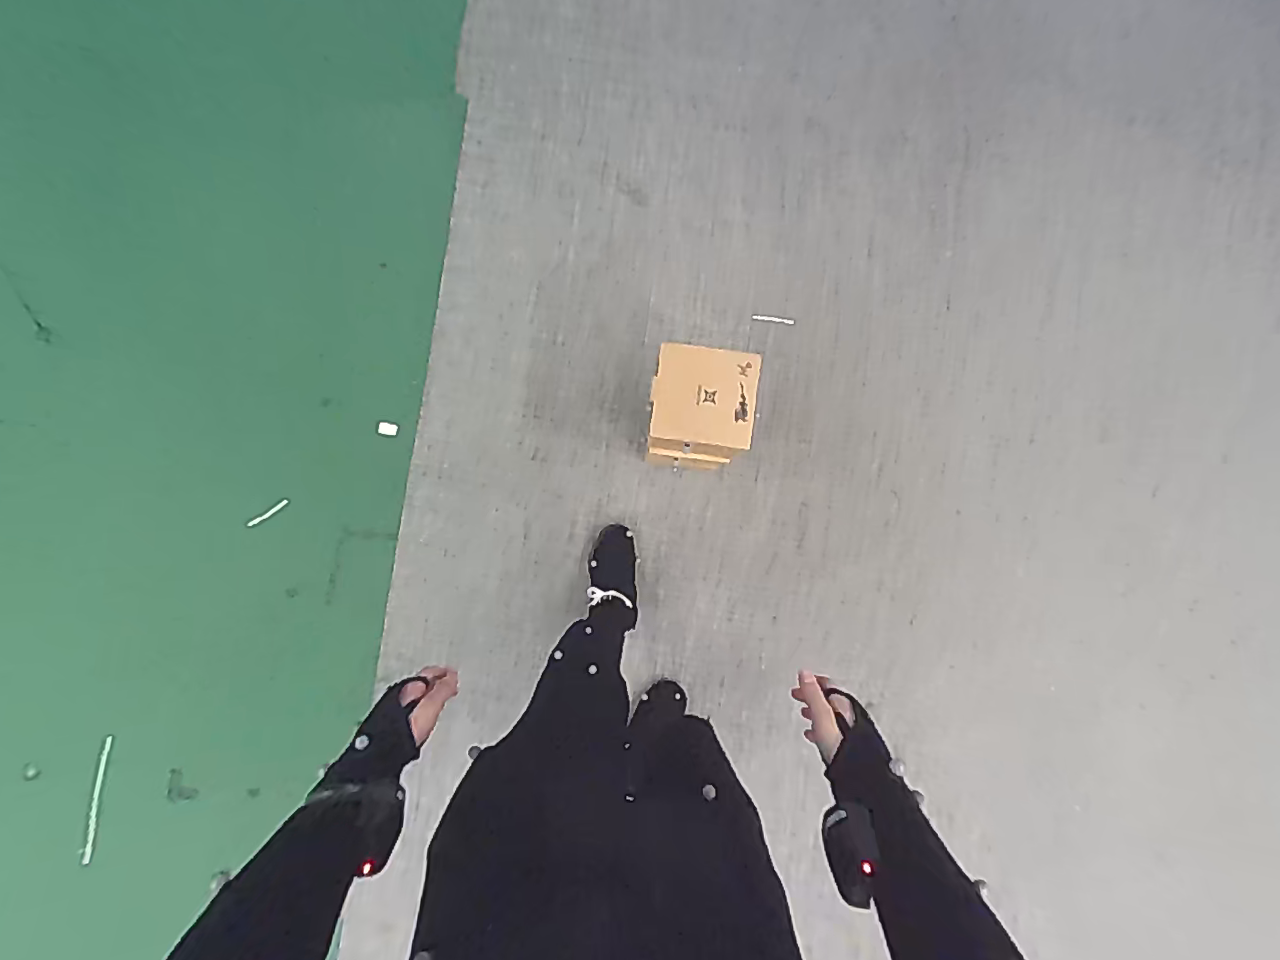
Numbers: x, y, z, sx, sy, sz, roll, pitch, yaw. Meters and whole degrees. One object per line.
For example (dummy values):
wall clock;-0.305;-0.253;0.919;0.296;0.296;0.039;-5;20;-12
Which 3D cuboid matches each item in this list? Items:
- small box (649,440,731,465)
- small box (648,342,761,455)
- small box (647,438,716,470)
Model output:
small box;0.112;-0.129;1.161;0.168;0.176;0.179;7;87;1
small box;0.112;-0.141;0.997;0.179;0.176;0.168;8;88;2
small box;0.111;-0.122;1.323;0.168;0.176;0.179;9;87;0
